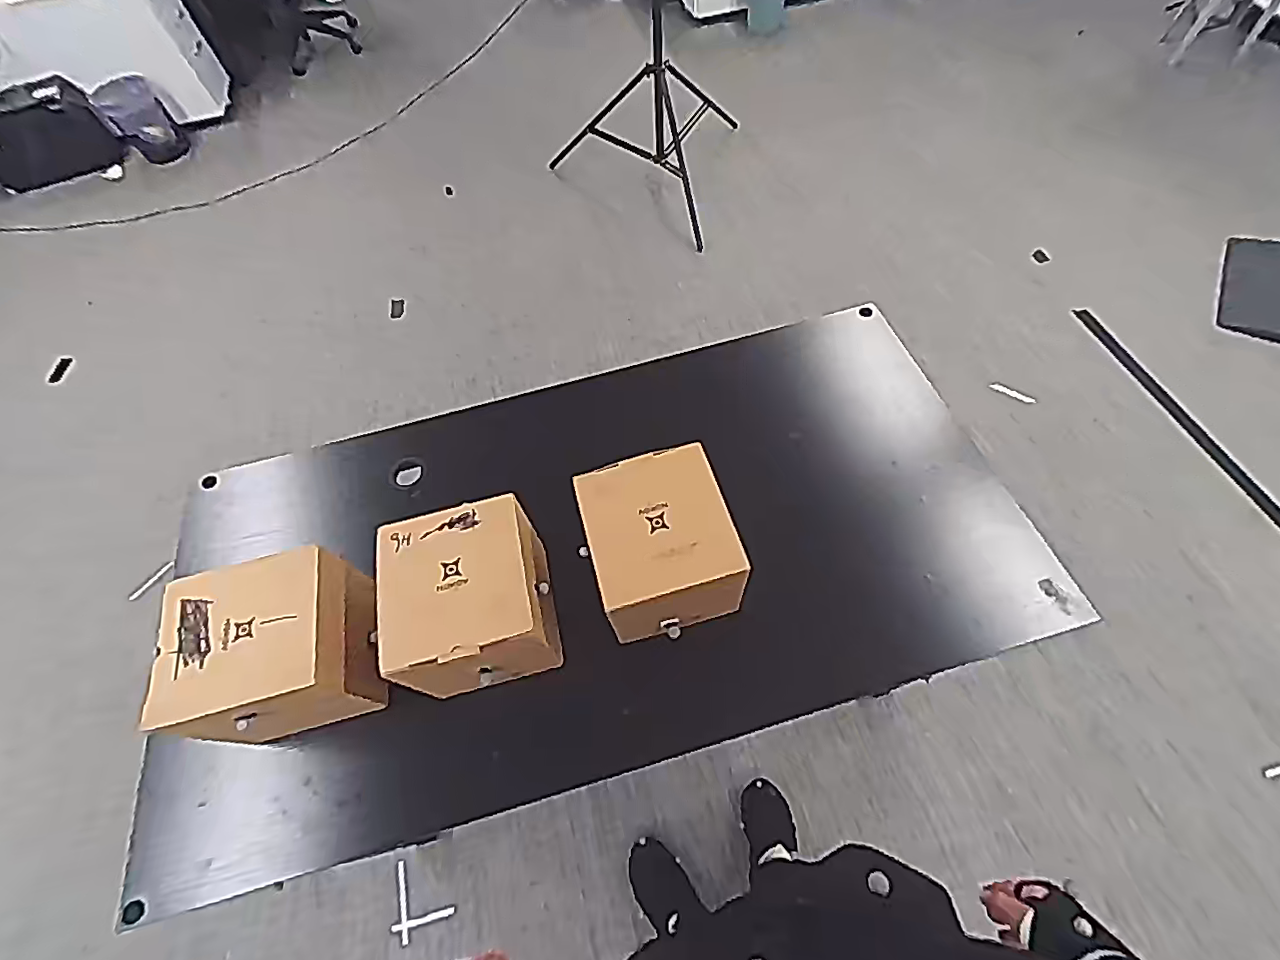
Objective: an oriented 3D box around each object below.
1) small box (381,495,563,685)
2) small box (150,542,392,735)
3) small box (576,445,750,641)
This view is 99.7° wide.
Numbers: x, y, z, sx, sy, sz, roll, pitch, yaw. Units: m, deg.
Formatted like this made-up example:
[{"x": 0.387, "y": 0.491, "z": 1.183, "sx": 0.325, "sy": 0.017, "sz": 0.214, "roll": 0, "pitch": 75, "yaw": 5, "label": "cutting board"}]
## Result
[{"x": -0.202, "y": 0.147, "z": 0.676, "sx": 0.168, "sy": 0.176, "sz": 0.179, "roll": -14, "pitch": 61, "yaw": -3, "label": "small box"}, {"x": -0.429, "y": 0.201, "z": 0.662, "sx": 0.179, "sy": 0.176, "sz": 0.168, "roll": -14, "pitch": 61, "yaw": -5, "label": "small box"}, {"x": 0.027, "y": 0.087, "z": 0.696, "sx": 0.168, "sy": 0.176, "sz": 0.179, "roll": -17, "pitch": 62, "yaw": -3, "label": "small box"}]
